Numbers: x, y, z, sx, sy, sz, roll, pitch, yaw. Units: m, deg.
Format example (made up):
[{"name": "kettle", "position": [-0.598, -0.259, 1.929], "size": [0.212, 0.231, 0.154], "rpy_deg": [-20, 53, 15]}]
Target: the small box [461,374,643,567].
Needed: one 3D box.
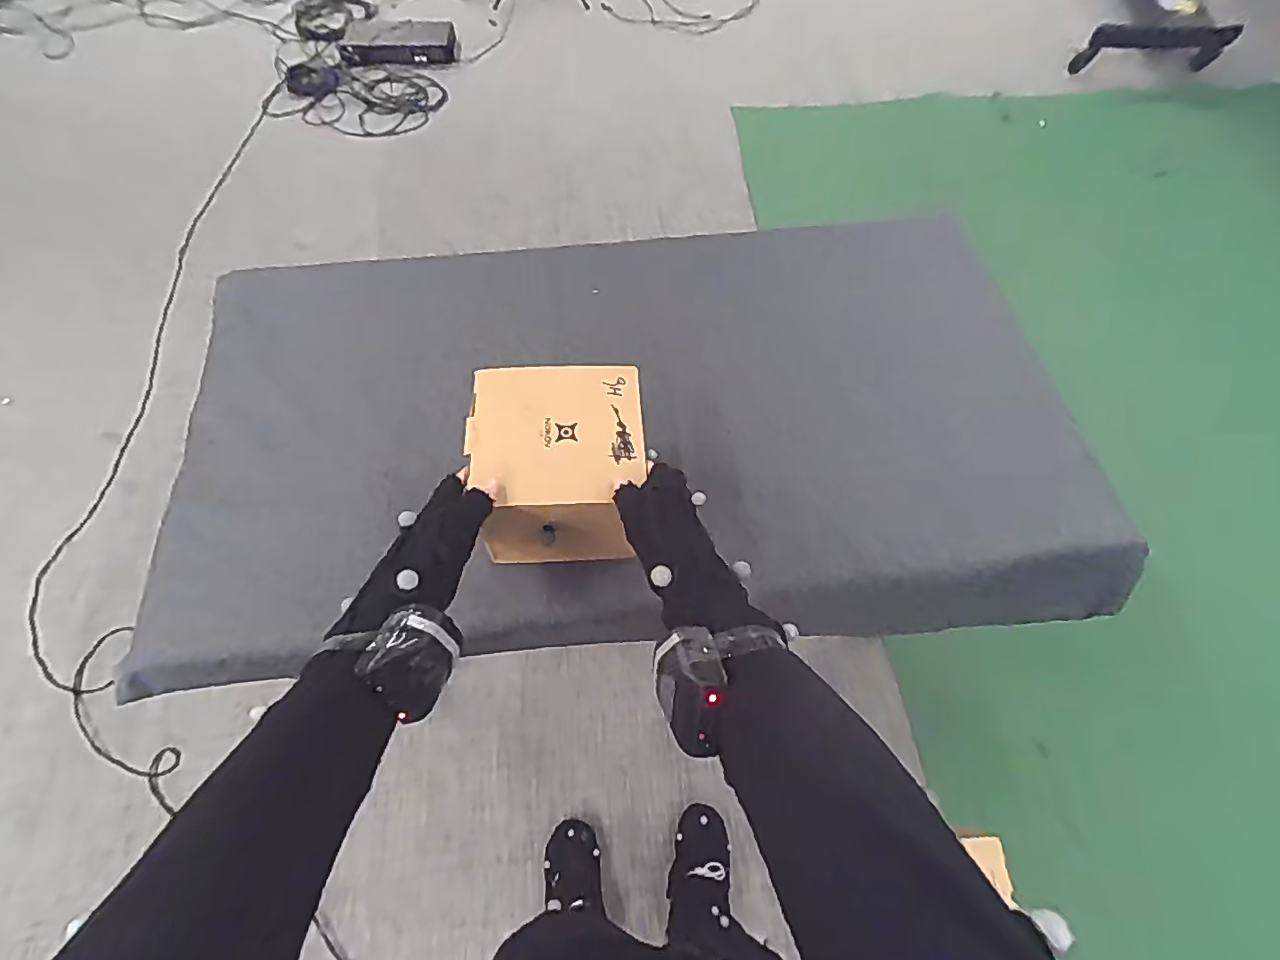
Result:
[{"name": "small box", "position": [-0.090, -0.003, 0.619], "size": [0.179, 0.176, 0.168], "rpy_deg": [-1, 63, -5]}]
